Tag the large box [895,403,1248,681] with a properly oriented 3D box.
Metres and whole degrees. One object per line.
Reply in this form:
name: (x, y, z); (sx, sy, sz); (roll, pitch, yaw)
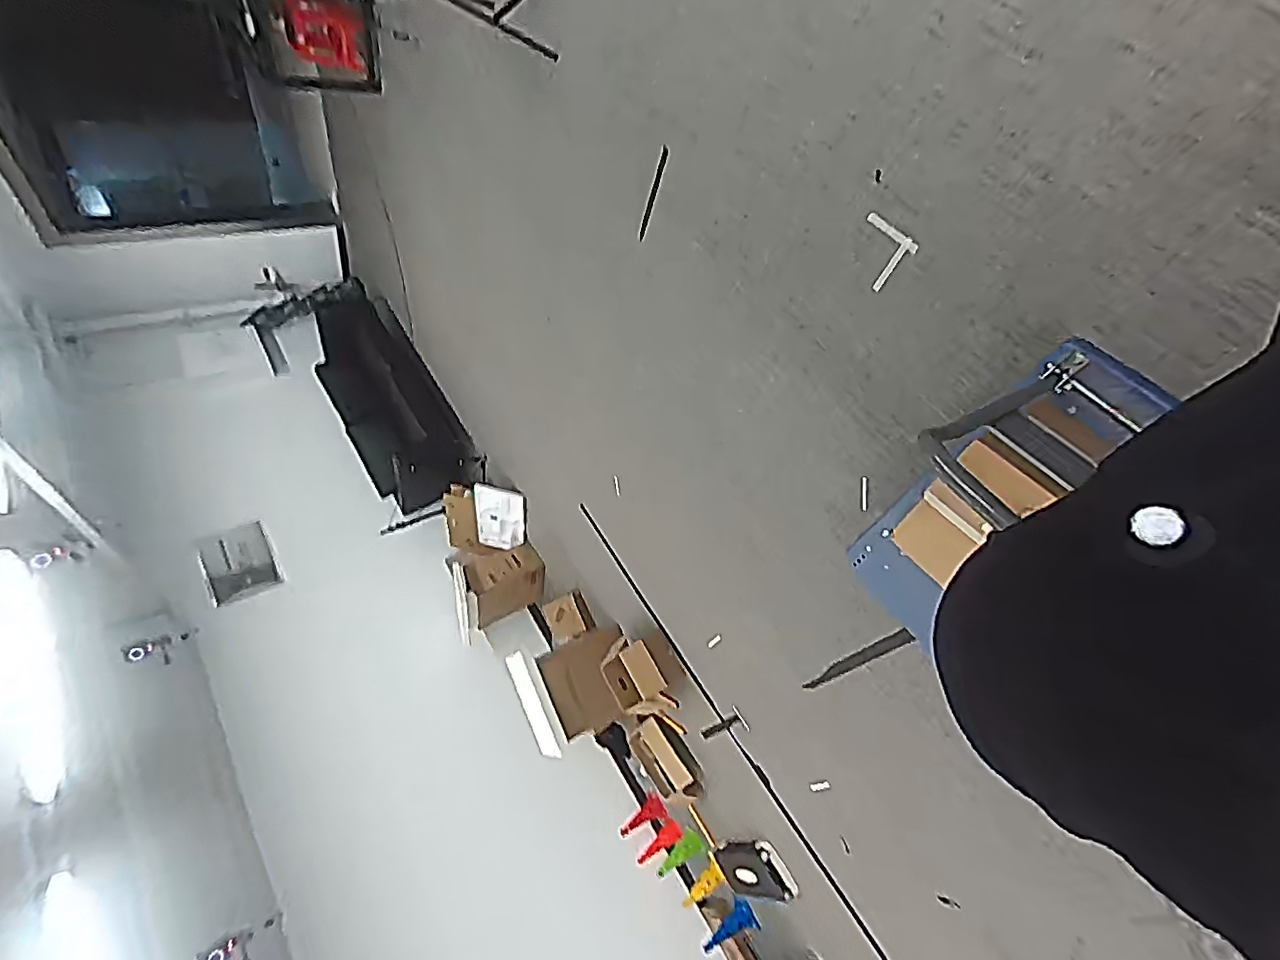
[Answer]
large box: (0.835, 0.109, 1.092); (0.408, 0.320, 0.320); (50, 144, 28)
